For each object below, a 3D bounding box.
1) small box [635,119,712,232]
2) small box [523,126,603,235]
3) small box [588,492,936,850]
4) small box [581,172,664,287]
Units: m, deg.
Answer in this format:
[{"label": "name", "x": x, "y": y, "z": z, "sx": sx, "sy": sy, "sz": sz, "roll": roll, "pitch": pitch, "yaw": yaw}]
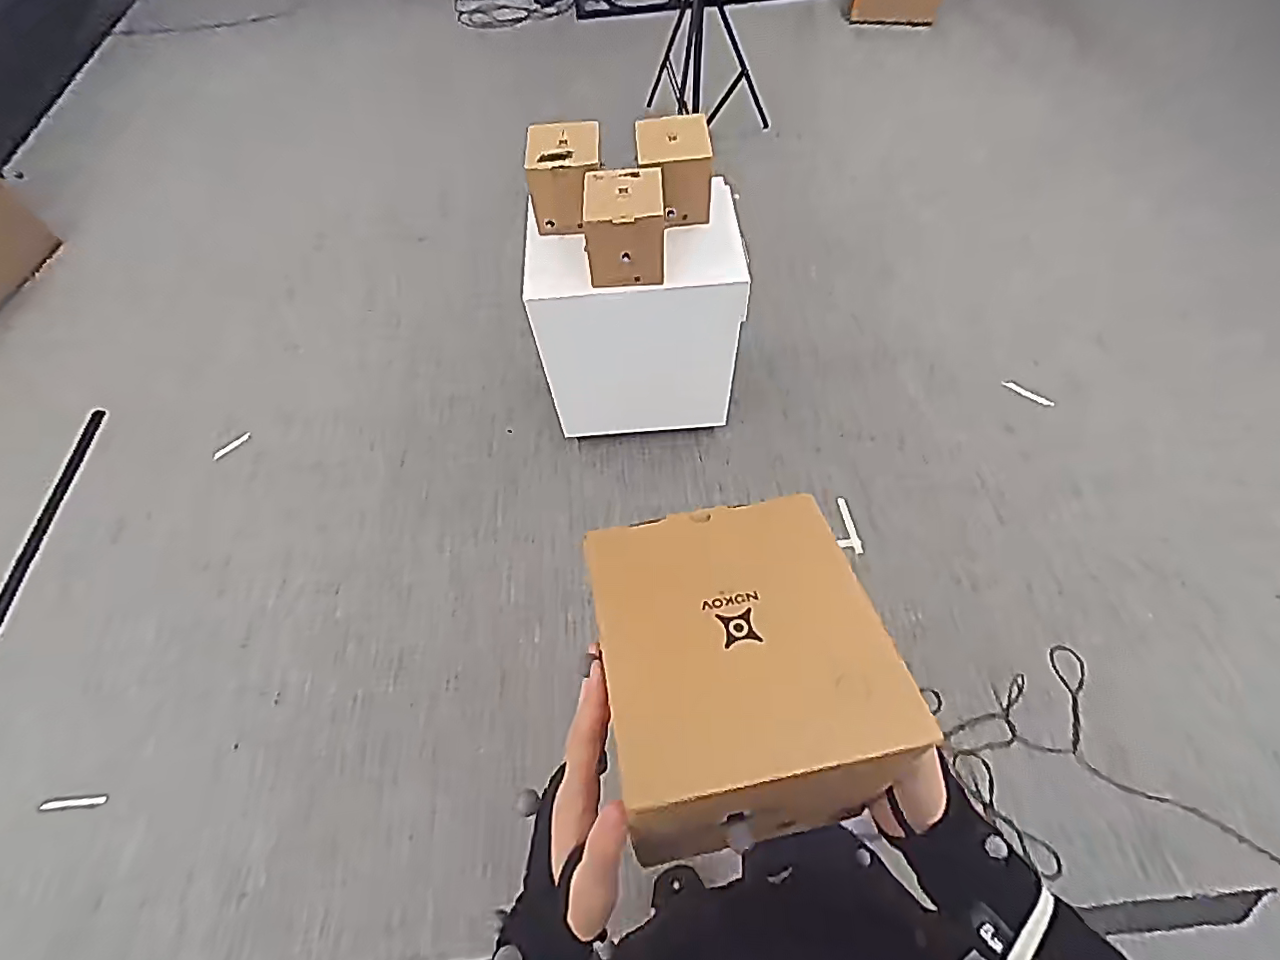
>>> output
[{"label": "small box", "x": 0.077, "y": -0.719, "z": 1.285, "sx": 0.168, "sy": 0.176, "sz": 0.179, "roll": -5, "pitch": 62, "yaw": 2}, {"label": "small box", "x": -0.173, "y": -0.705, "z": 1.287, "sx": 0.168, "sy": 0.176, "sz": 0.179, "roll": -3, "pitch": 60, "yaw": 1}, {"label": "small box", "x": 0.063, "y": 0.138, "z": 0.382, "sx": 0.168, "sy": 0.176, "sz": 0.179, "roll": -10, "pitch": 46, "yaw": -6}, {"label": "small box", "x": -0.034, "y": -0.542, "z": 1.189, "sx": 0.168, "sy": 0.176, "sz": 0.179, "roll": -2, "pitch": 60, "yaw": 2}]
